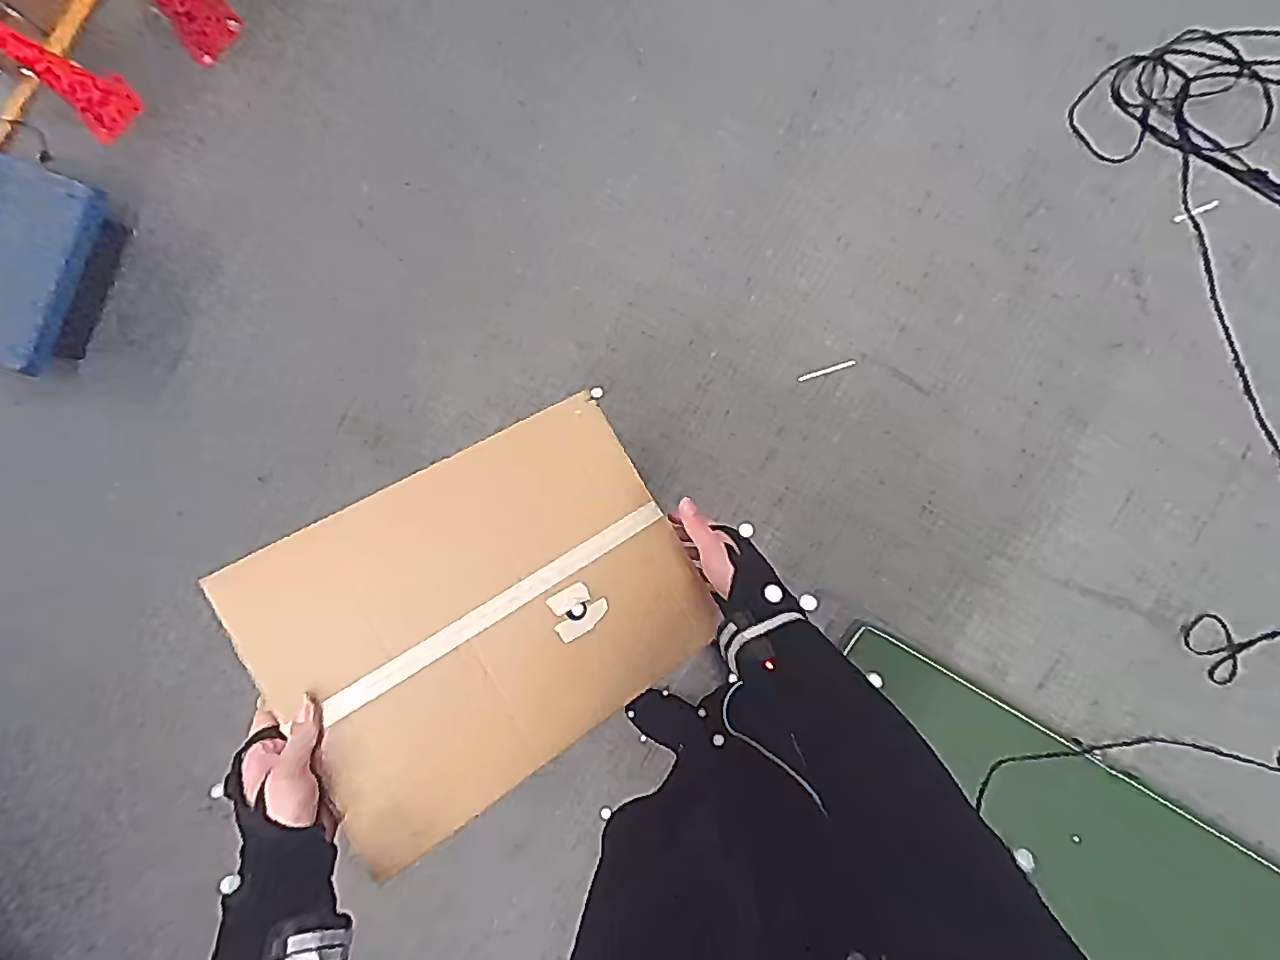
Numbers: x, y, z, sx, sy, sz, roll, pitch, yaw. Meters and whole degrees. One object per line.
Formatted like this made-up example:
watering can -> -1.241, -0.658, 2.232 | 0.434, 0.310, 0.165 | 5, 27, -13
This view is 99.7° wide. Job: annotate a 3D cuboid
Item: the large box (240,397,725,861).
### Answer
large box -> -0.178, 0.155, 0.699 | 0.408, 0.320, 0.320 | -29, 89, -20
